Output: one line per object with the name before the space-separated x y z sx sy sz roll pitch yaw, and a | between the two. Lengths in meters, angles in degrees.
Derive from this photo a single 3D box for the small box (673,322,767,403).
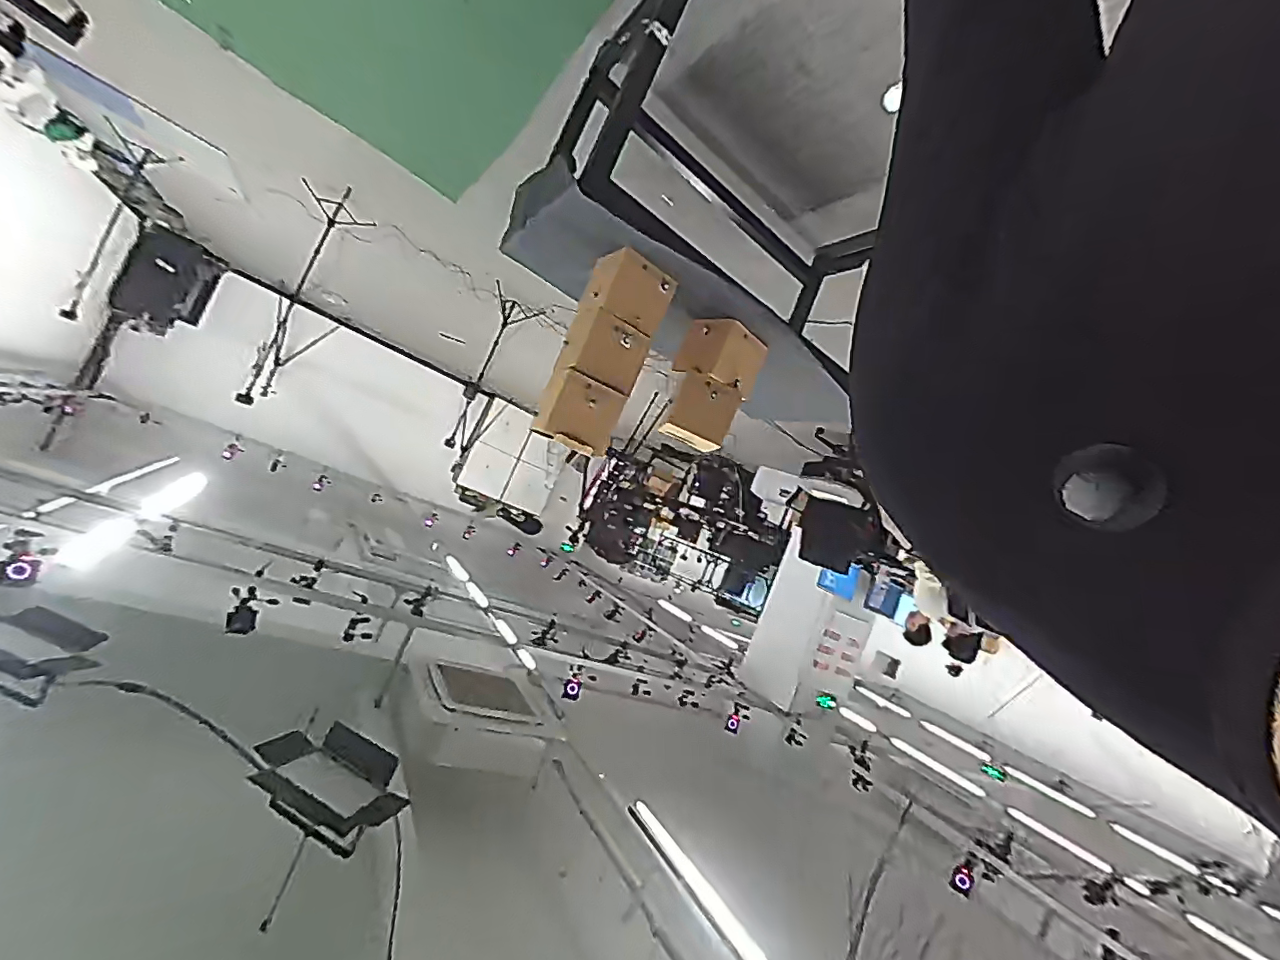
small box | 0.234 -0.342 1.556 0.168 0.176 0.179 26 176 -39

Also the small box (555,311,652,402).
small box | -0.092 -0.314 1.390 0.168 0.176 0.179 23 176 -28

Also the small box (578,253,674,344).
small box | -0.032 -0.464 1.403 0.168 0.176 0.179 25 177 -31

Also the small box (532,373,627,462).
small box | -0.153 -0.161 1.373 0.168 0.176 0.179 22 177 -24
